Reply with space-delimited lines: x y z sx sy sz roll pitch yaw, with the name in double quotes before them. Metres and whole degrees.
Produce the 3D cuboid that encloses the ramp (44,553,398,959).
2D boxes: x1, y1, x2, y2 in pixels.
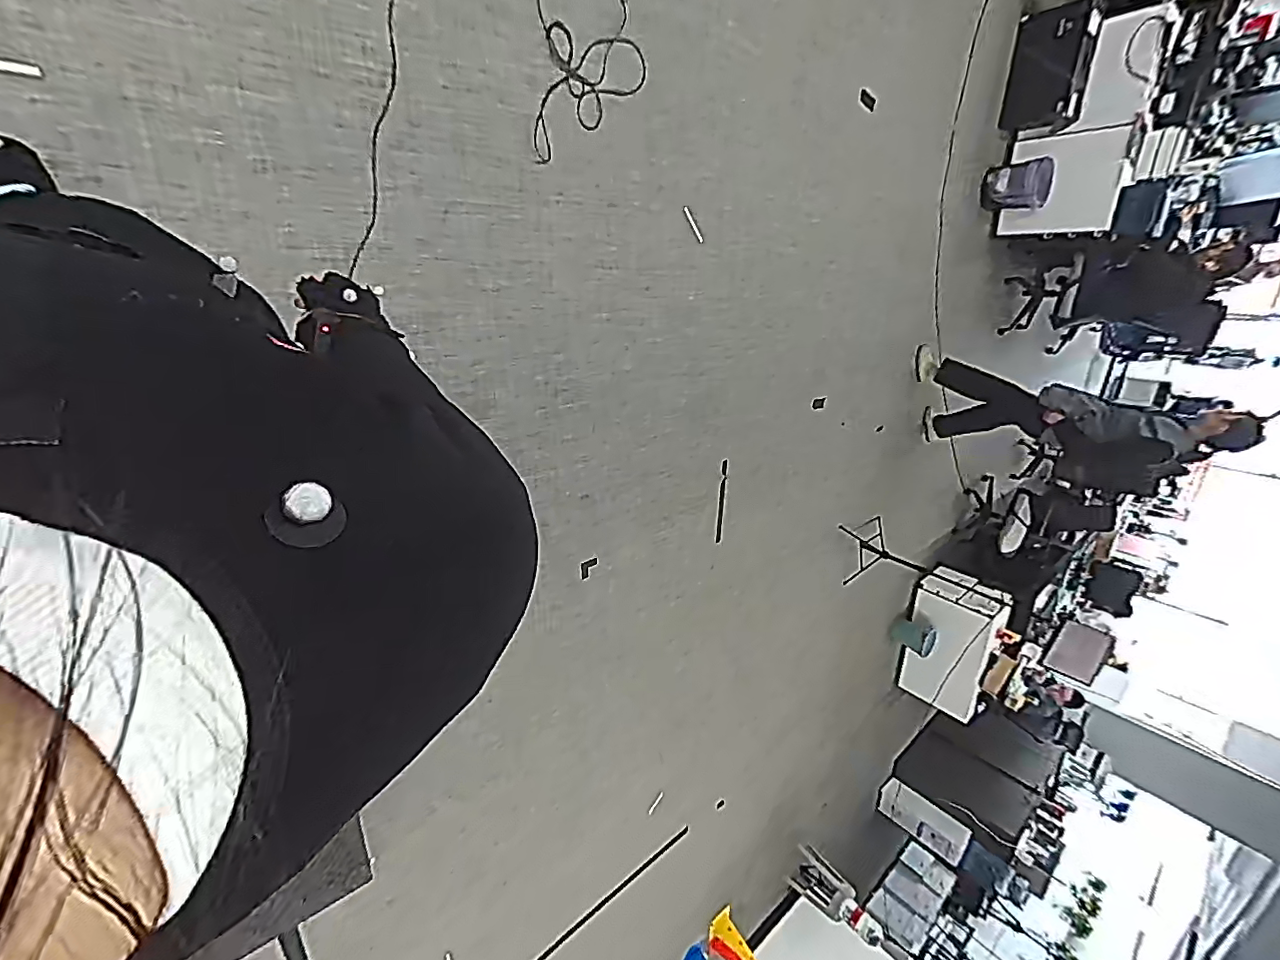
"ramp" -0.948 0.715 1.317 0.509 0.206 0.991 -17 115 -35
